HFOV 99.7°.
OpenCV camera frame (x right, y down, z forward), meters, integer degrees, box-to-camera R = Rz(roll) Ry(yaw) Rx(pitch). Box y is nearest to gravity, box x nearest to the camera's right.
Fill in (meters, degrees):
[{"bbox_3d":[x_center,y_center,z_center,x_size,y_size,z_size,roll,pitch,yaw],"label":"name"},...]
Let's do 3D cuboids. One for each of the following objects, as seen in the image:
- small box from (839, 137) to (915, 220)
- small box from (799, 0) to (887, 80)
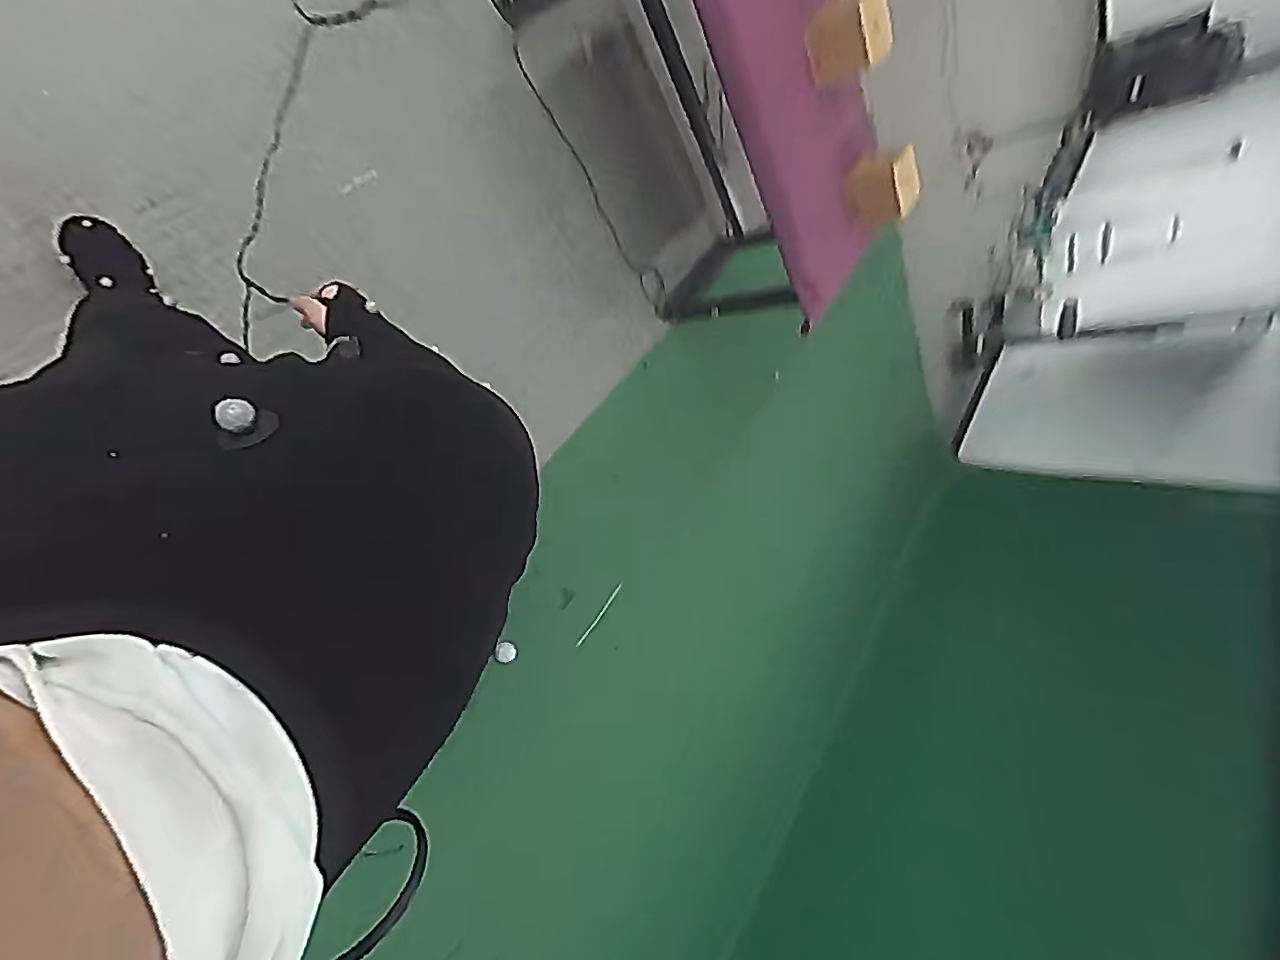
[{"bbox_3d":[0.788,-1.000,1.800,0.179,0.176,0.168,-52,128,-25],"label":"small box"},{"bbox_3d":[0.581,-1.298,1.550,0.179,0.176,0.168,-53,129,-23],"label":"small box"}]
